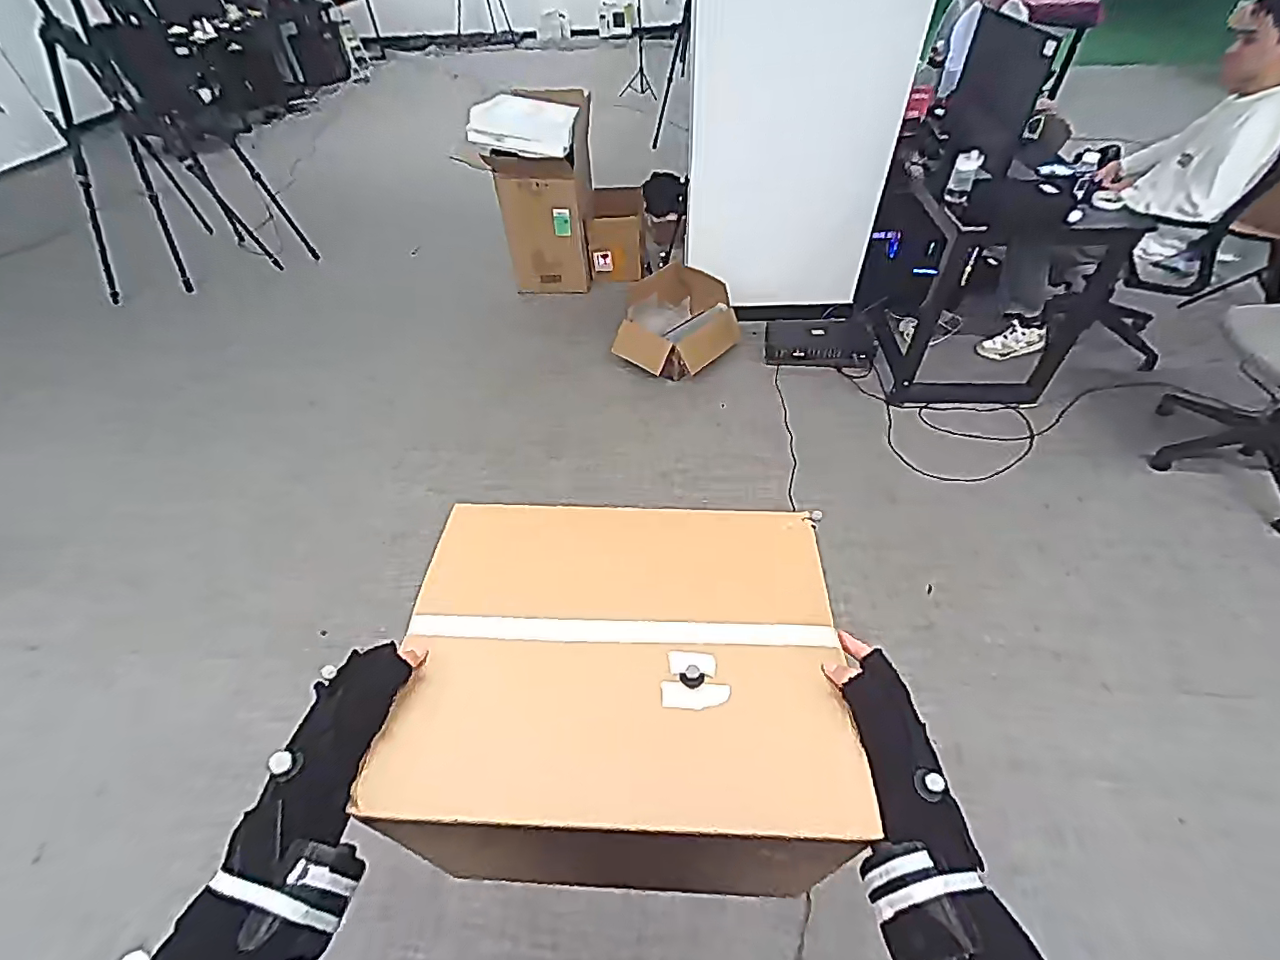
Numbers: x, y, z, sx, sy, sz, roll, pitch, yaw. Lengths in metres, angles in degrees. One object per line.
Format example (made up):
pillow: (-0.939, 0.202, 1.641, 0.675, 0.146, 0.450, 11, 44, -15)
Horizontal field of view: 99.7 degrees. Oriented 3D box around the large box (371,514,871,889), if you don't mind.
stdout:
large box: (-0.013, 0.256, 0.631, 0.408, 0.320, 0.320, 2, 46, 2)
